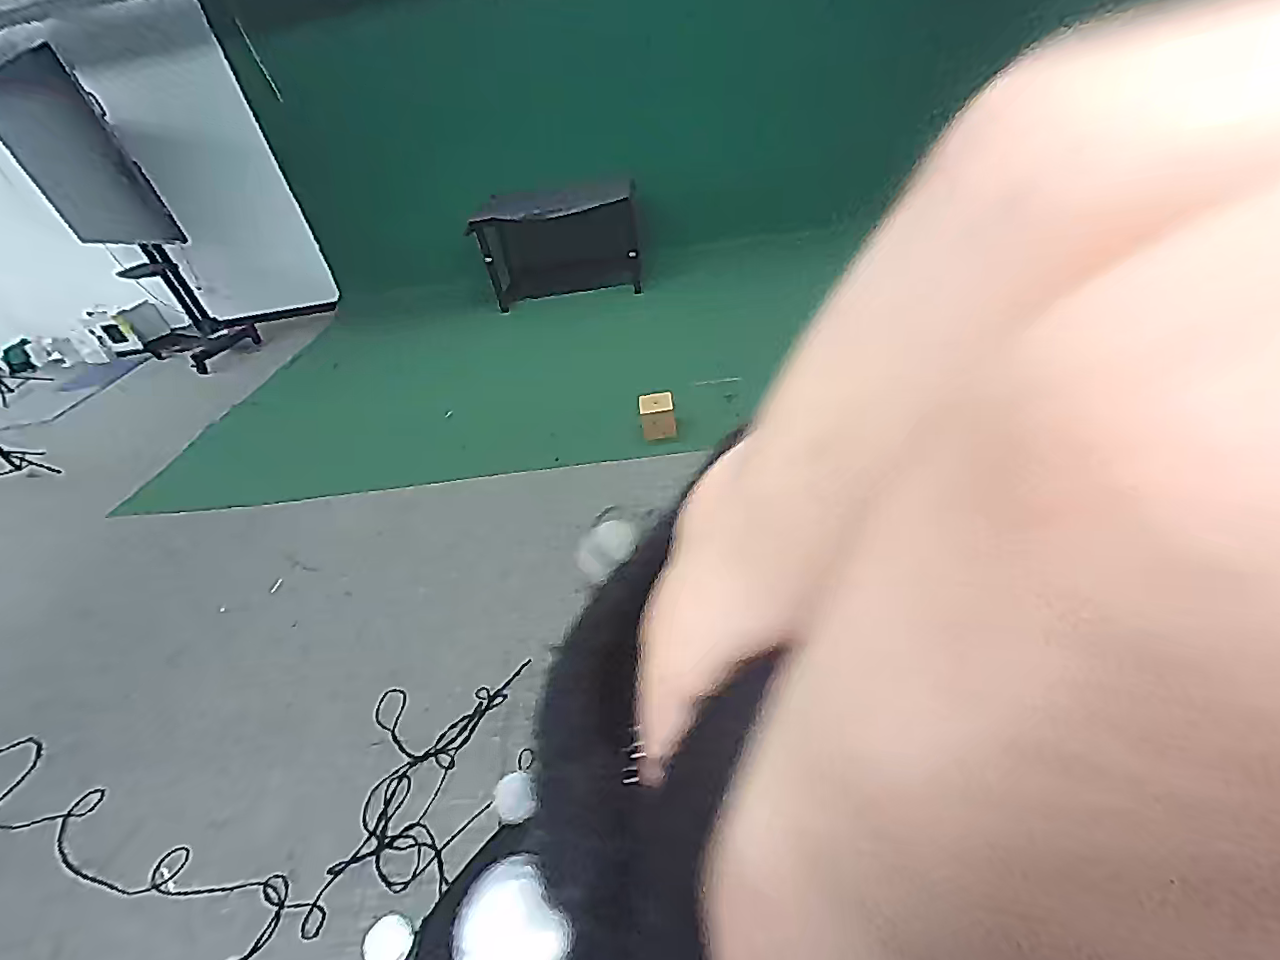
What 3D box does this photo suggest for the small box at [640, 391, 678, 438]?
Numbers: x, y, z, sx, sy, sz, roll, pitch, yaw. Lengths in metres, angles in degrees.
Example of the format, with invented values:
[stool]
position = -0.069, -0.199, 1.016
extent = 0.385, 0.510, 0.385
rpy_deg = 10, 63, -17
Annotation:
[small box]
position = 0.098, -0.324, 2.742
extent = 0.168, 0.176, 0.179
rpy_deg = -9, 38, 4
